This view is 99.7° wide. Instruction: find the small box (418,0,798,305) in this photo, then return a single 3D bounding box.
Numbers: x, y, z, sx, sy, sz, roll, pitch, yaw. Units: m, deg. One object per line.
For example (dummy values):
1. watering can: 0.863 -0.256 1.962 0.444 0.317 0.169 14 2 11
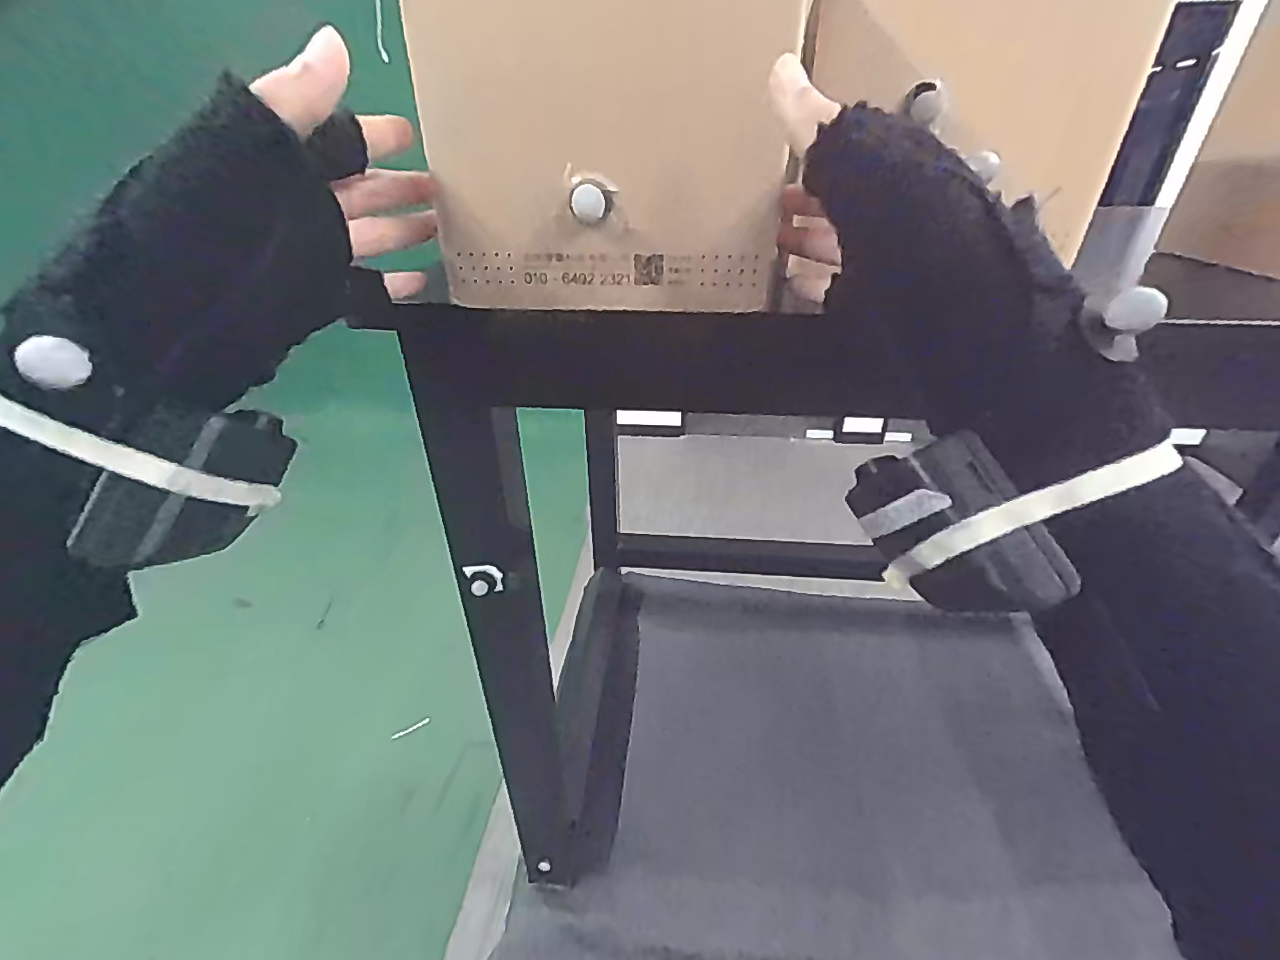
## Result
1. small box: -0.013 -0.208 0.311 0.168 0.176 0.179 2 31 2
